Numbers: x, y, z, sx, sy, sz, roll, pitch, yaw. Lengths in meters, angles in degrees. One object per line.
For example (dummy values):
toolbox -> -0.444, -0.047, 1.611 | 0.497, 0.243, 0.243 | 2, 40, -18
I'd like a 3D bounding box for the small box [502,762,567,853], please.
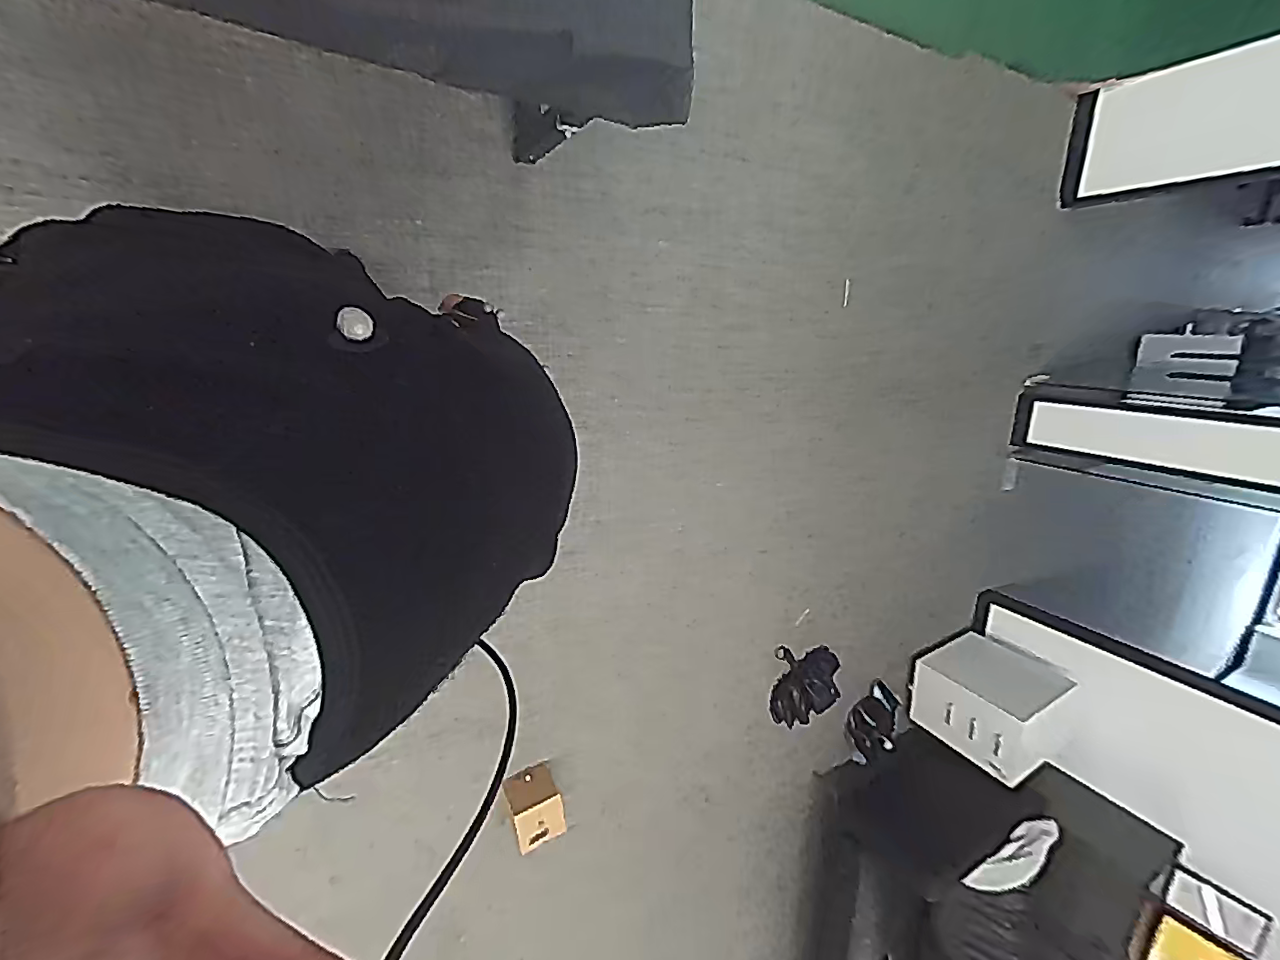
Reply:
small box -> -0.370, 1.137, 1.888 | 0.168, 0.176, 0.179 | -15, 111, -27
